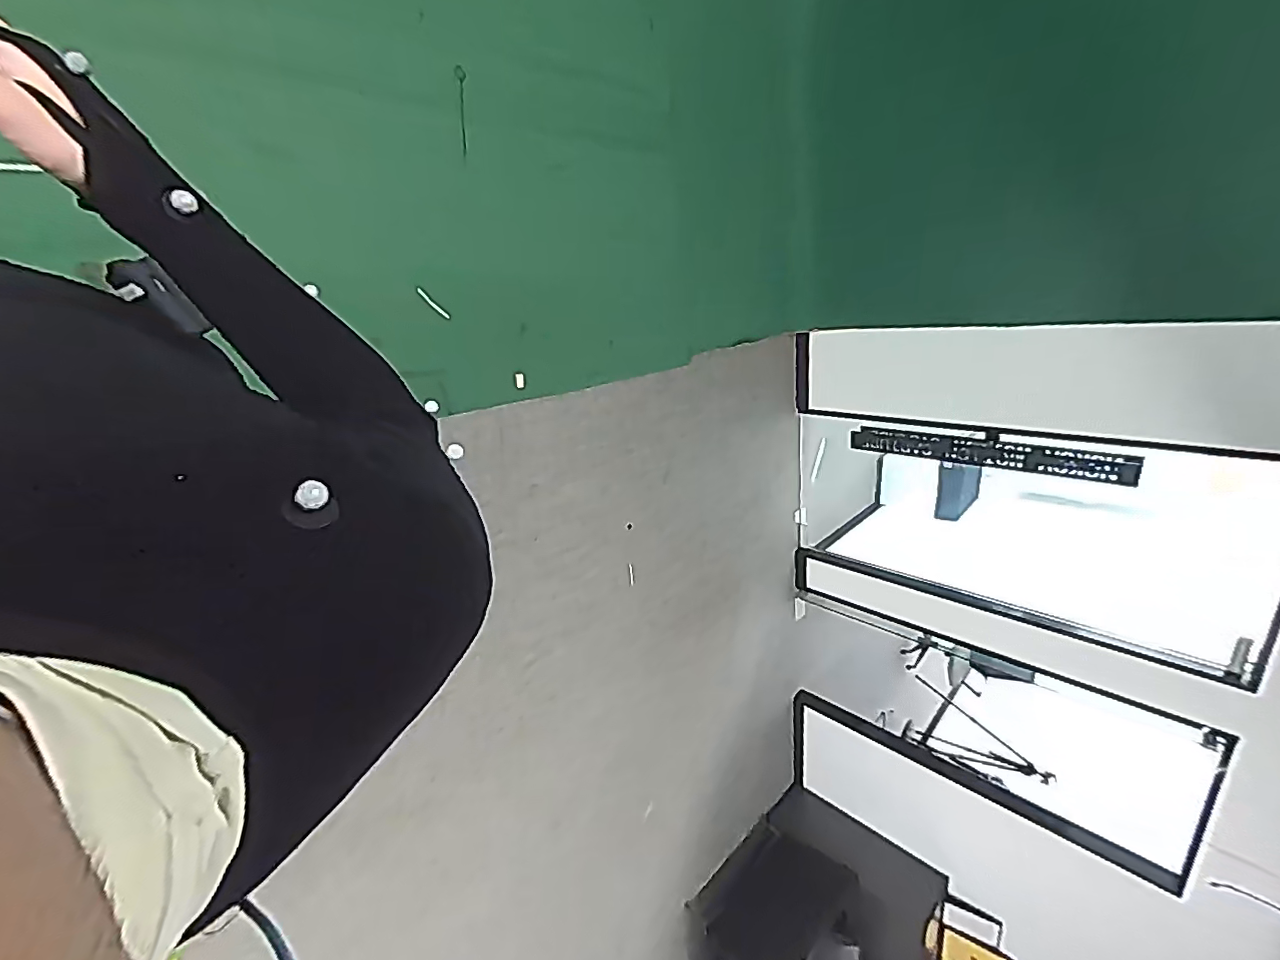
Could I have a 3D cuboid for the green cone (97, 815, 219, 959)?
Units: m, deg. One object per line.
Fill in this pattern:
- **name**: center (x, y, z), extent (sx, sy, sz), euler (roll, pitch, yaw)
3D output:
- **green cone**: center (-1.099, 1.010, 1.253), extent (0.202, 0.368, 0.200), euler (-21, 114, -39)
